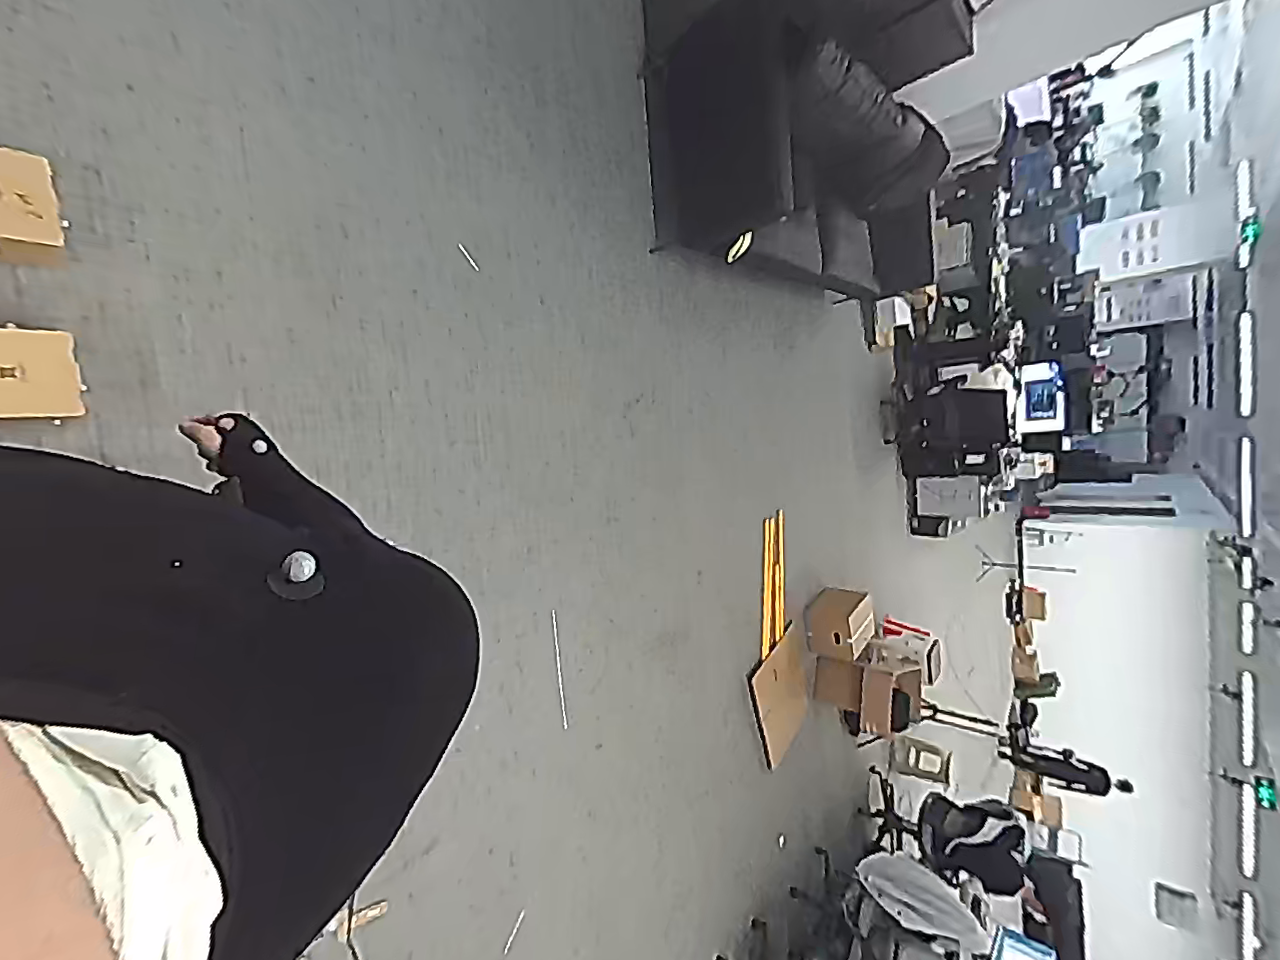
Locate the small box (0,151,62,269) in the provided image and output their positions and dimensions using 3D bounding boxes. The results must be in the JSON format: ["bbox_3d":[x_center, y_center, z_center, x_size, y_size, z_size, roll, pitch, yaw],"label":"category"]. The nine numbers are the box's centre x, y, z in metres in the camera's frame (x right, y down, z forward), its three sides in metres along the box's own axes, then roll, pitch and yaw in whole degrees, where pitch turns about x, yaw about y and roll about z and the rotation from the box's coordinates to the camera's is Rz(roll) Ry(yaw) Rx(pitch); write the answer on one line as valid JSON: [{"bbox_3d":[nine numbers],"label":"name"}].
[{"bbox_3d":[-1.234,-0.514,1.024,0.179,0.176,0.168,-10,96,-48],"label":"small box"}]

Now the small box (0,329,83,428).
[{"bbox_3d":[-1.214,-0.191,1.043,0.179,0.176,0.168,-10,96,-48],"label":"small box"}]
